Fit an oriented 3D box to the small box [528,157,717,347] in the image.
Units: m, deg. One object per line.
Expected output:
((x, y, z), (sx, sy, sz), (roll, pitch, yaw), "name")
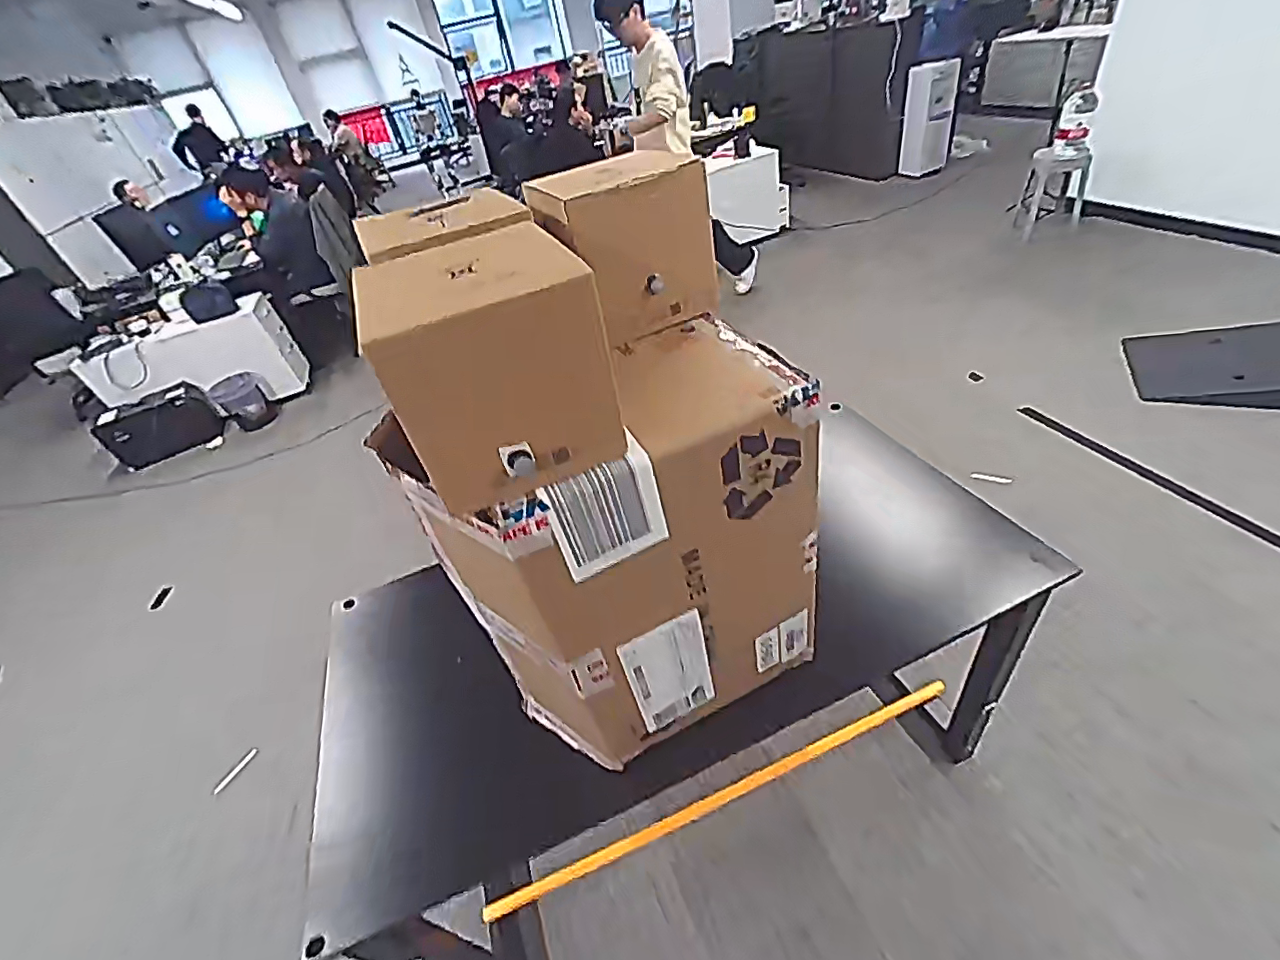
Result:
((-0.020, -0.286, 0.675), (0.168, 0.176, 0.179), (-24, 39, -12), "small box")

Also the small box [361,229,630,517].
((-0.124, -0.099, 0.480), (0.168, 0.176, 0.179), (-23, 43, -13), "small box")
